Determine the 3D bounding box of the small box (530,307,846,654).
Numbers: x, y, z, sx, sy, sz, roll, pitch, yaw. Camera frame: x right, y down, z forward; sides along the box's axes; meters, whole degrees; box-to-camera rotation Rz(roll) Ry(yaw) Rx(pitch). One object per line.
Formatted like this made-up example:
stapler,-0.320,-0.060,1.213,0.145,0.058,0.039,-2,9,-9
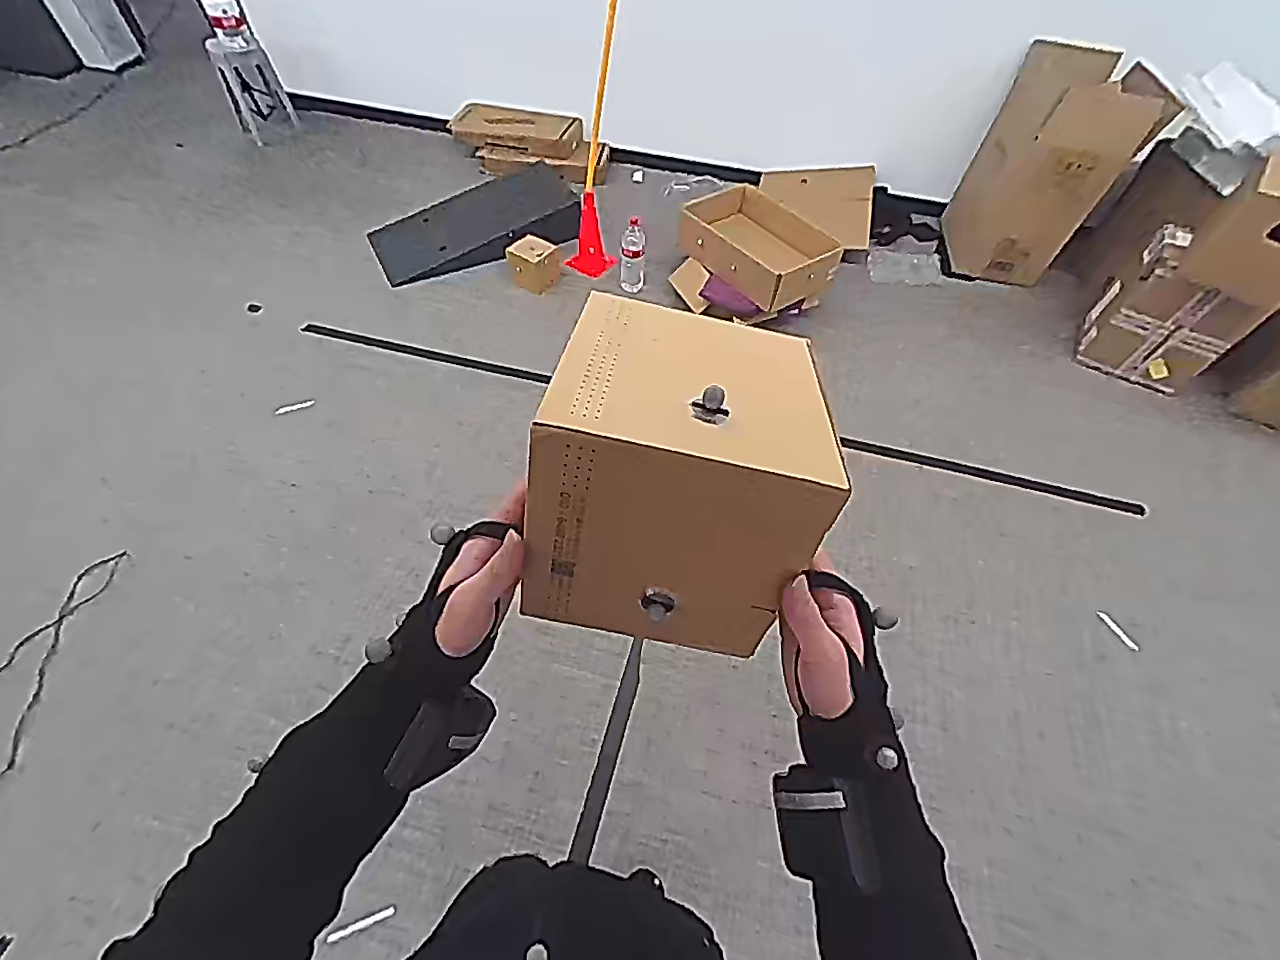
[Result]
small box,0.022,-0.004,0.396,0.176,0.168,0.179,12,41,-4
